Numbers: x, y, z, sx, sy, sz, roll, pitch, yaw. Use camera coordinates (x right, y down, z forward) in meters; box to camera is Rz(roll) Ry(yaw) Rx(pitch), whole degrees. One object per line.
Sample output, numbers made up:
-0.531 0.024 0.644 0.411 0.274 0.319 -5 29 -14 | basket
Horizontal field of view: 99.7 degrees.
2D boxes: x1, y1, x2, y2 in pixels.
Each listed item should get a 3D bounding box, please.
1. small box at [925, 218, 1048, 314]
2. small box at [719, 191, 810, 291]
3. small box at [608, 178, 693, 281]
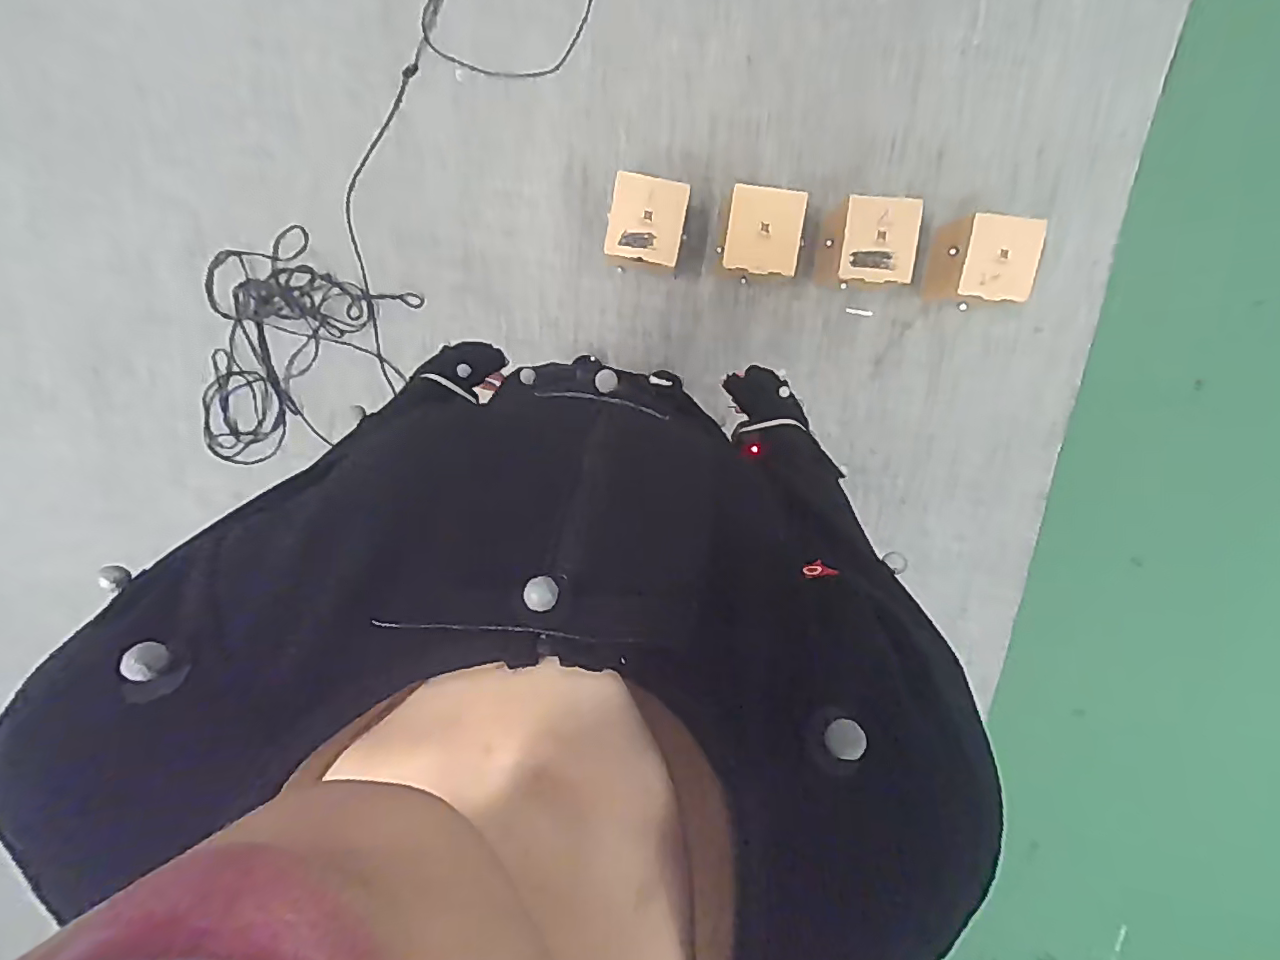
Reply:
0.813 -0.502 1.289 0.168 0.176 0.179 7 103 0 | small box
0.286 -0.561 1.286 0.168 0.176 0.179 7 103 0 | small box
0.026 -0.584 1.285 0.168 0.176 0.179 11 102 -1 | small box
